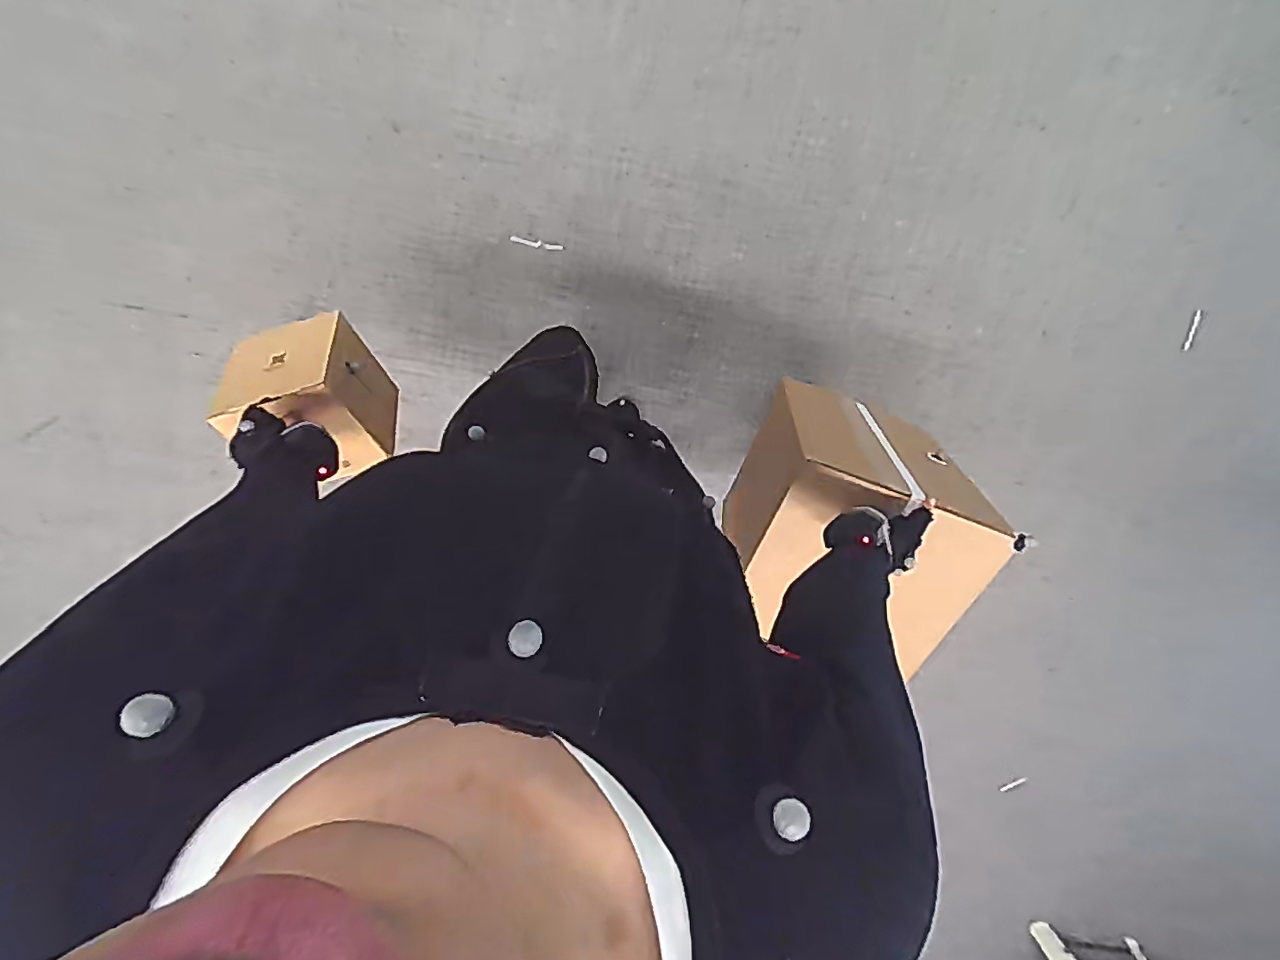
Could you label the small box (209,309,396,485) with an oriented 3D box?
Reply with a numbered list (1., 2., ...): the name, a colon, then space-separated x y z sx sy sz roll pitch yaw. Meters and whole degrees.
1. small box: -0.495 -0.123 0.826 0.168 0.179 0.176 -18 143 1
